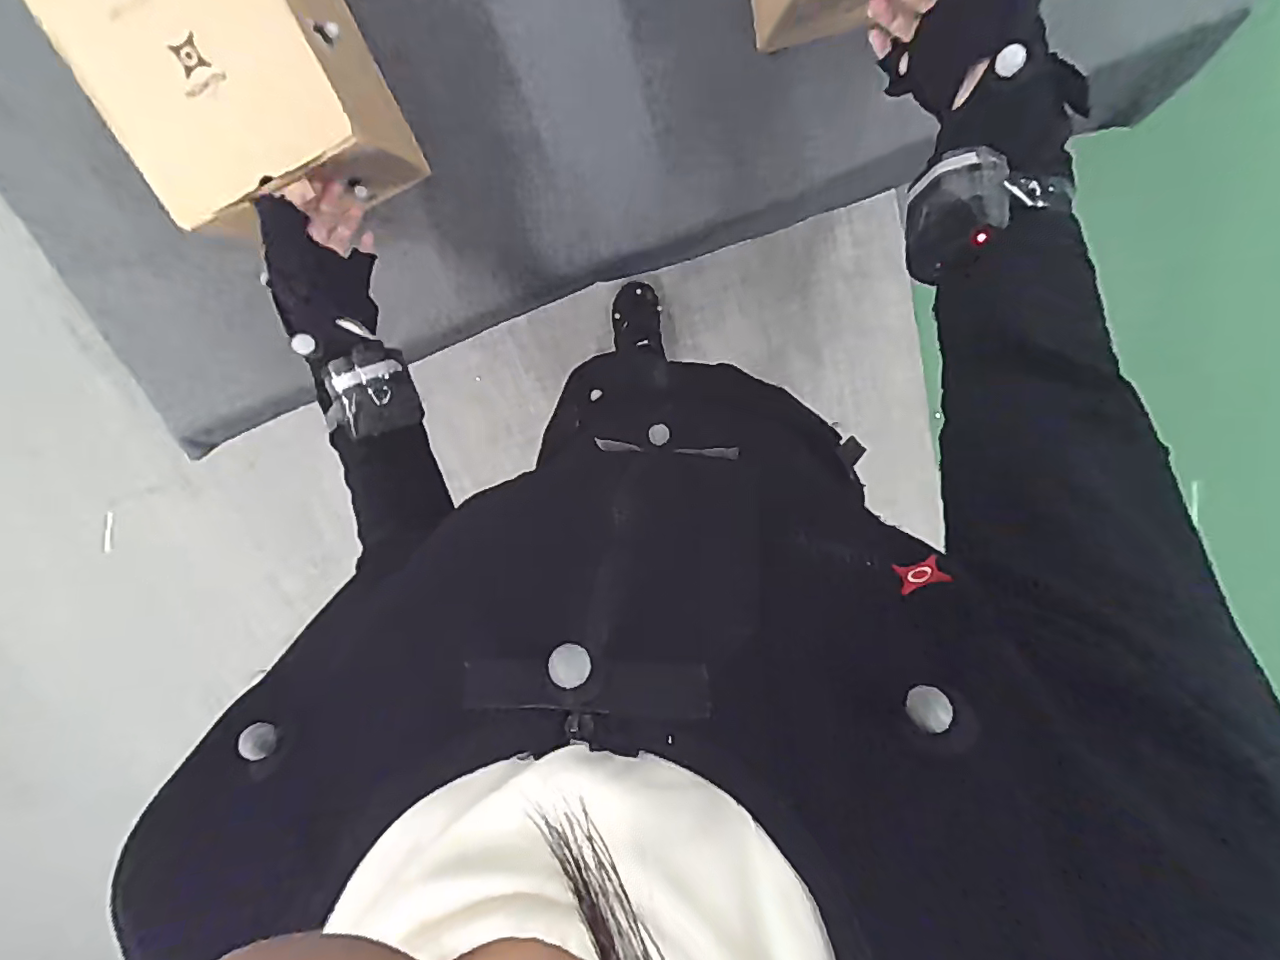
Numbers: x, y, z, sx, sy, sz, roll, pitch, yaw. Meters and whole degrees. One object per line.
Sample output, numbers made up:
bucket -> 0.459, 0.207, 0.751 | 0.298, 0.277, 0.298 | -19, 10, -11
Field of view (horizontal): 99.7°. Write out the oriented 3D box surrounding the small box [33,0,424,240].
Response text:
small box -> -0.325, -0.330, 0.476 | 0.168, 0.176, 0.179 | -24, 109, 8

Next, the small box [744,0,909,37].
small box -> 0.166, -0.480, 0.413 | 0.168, 0.176, 0.179 | -13, 112, 5
